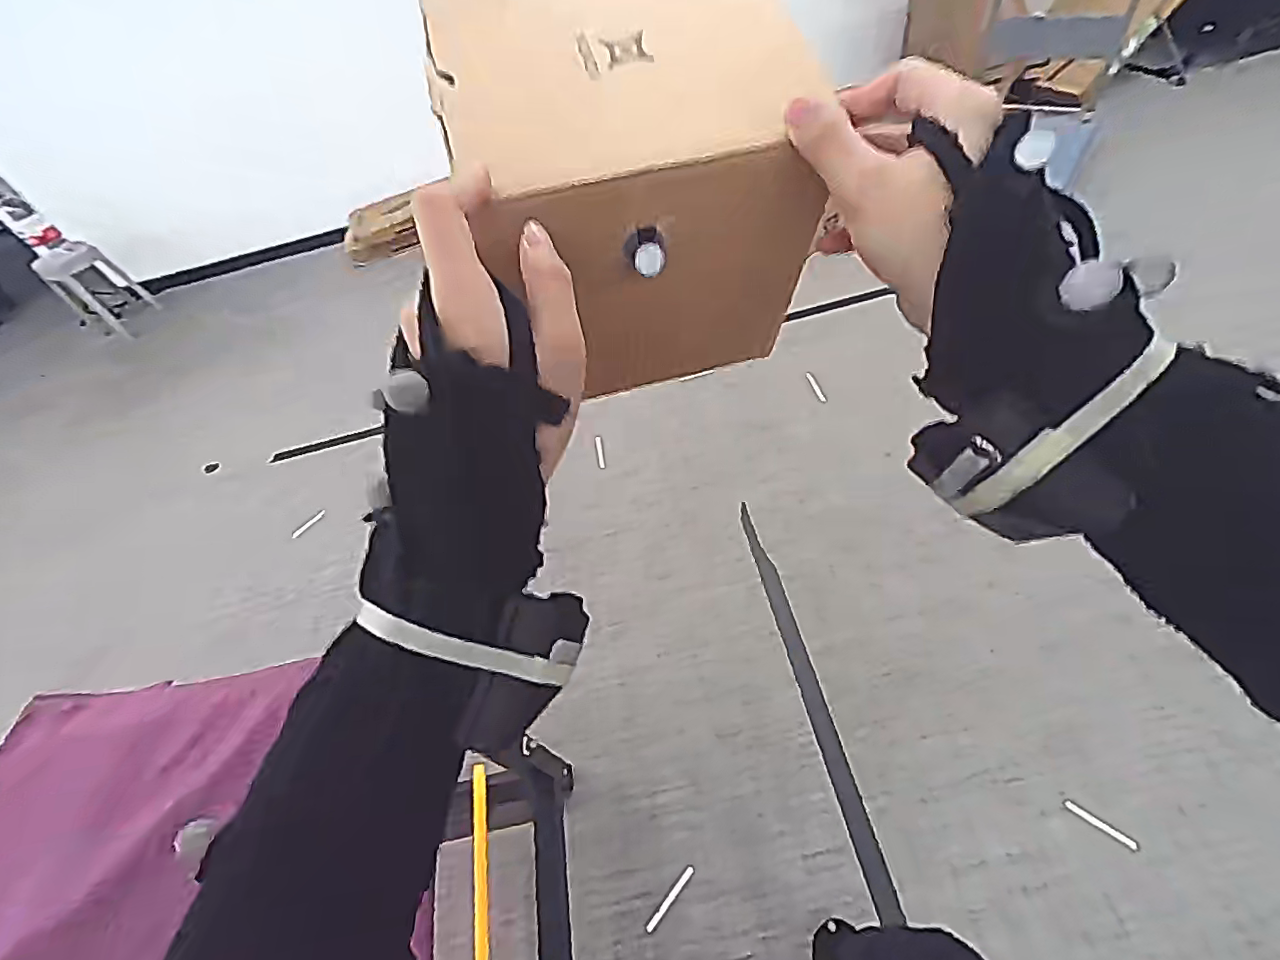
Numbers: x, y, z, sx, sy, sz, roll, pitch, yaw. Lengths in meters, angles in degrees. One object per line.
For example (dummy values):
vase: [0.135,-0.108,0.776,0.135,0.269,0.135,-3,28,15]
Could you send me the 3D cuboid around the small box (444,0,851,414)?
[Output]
small box: [-0.003,-0.164,0.344,0.179,0.176,0.168,-14,68,-4]
